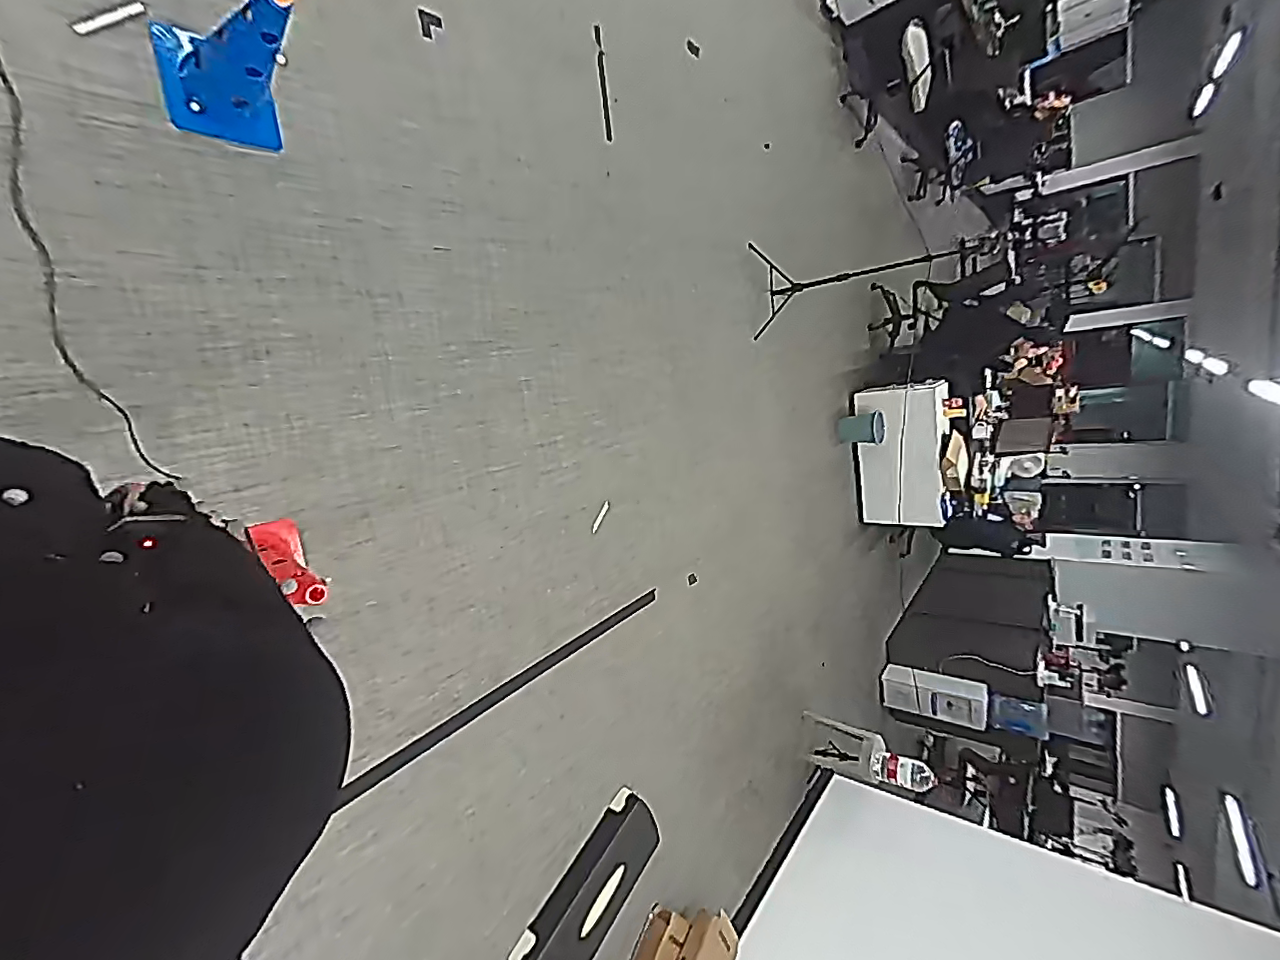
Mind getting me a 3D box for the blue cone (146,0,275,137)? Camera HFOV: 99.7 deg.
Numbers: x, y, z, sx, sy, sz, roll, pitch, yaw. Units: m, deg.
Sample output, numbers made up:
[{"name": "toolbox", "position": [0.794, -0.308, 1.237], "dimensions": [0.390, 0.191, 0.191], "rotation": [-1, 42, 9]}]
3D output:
[{"name": "blue cone", "position": [-0.762, -0.831, 1.022], "dimensions": [0.193, 0.380, 0.192], "rotation": [-15, 101, -50]}]
